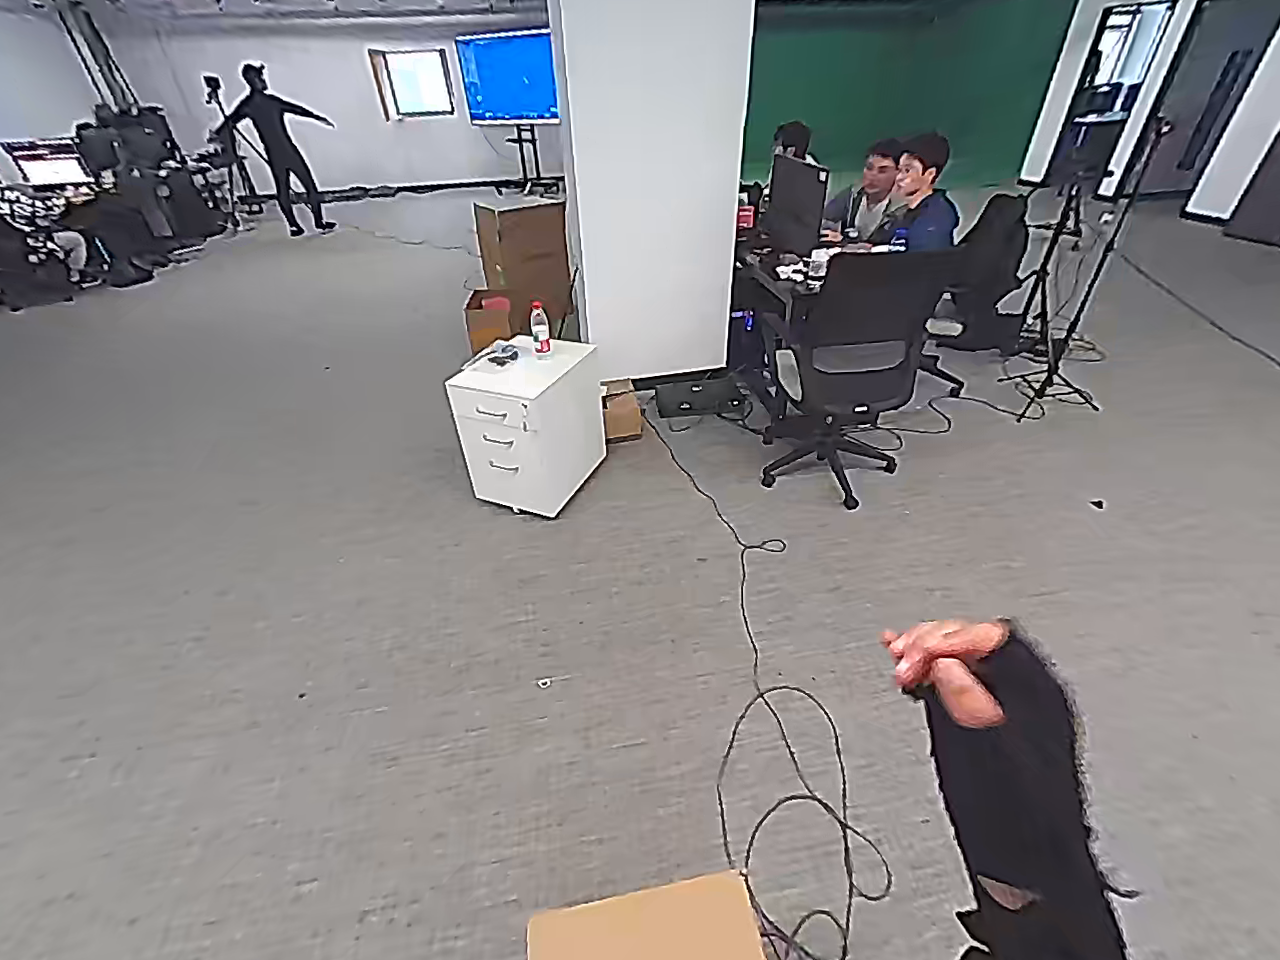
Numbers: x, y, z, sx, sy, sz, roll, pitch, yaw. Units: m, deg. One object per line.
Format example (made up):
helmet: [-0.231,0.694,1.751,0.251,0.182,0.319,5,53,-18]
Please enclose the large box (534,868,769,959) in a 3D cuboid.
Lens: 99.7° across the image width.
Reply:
large box: [0.035,0.977,0.971,0.408,0.320,0.320,-8,36,-7]
